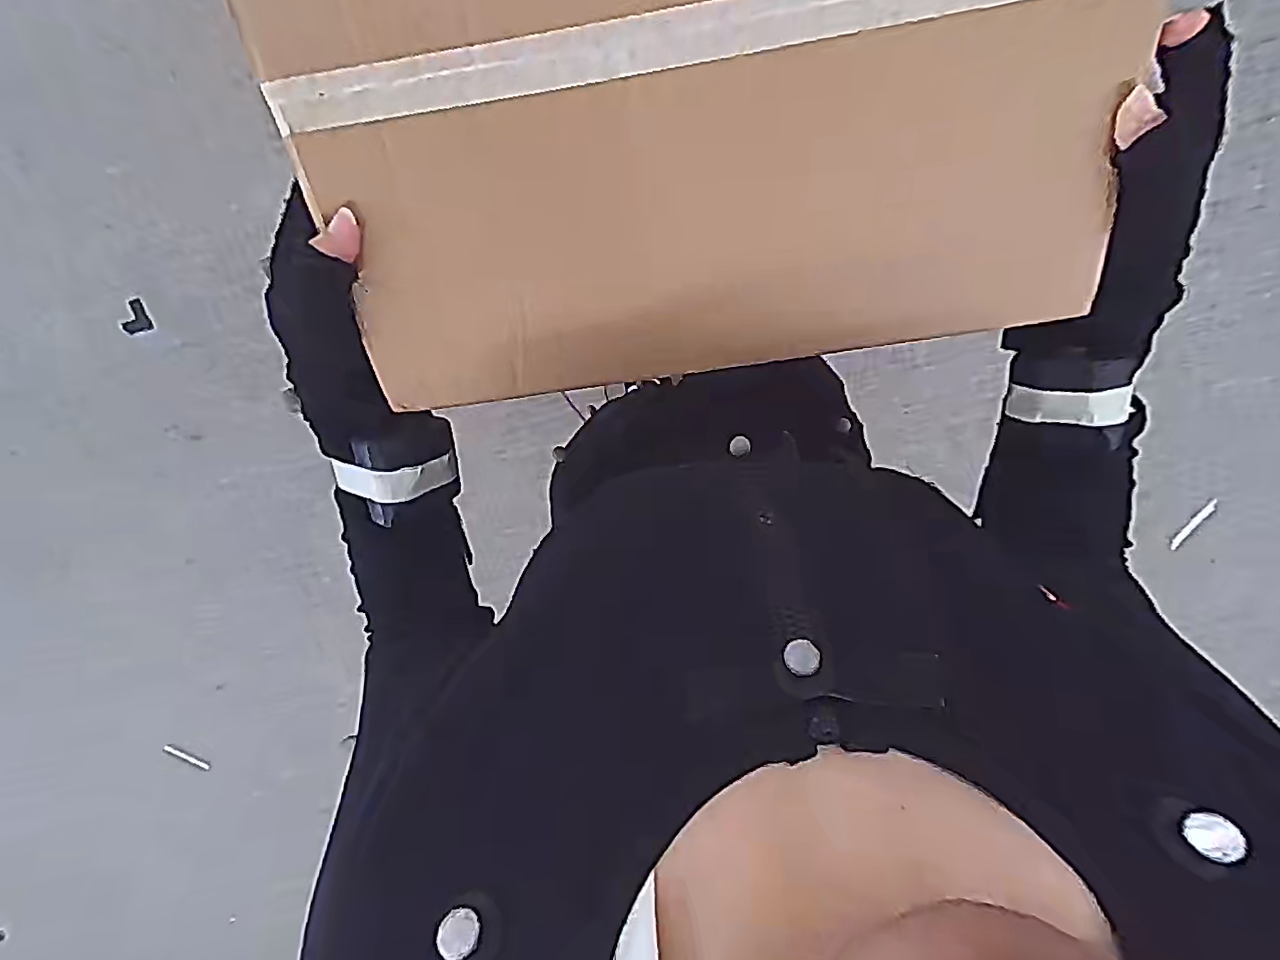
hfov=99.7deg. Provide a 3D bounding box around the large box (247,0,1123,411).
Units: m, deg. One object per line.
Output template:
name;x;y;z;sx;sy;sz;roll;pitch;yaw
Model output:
large box;0.025;-0.275;0.384;0.408;0.320;0.320;-8;118;4
